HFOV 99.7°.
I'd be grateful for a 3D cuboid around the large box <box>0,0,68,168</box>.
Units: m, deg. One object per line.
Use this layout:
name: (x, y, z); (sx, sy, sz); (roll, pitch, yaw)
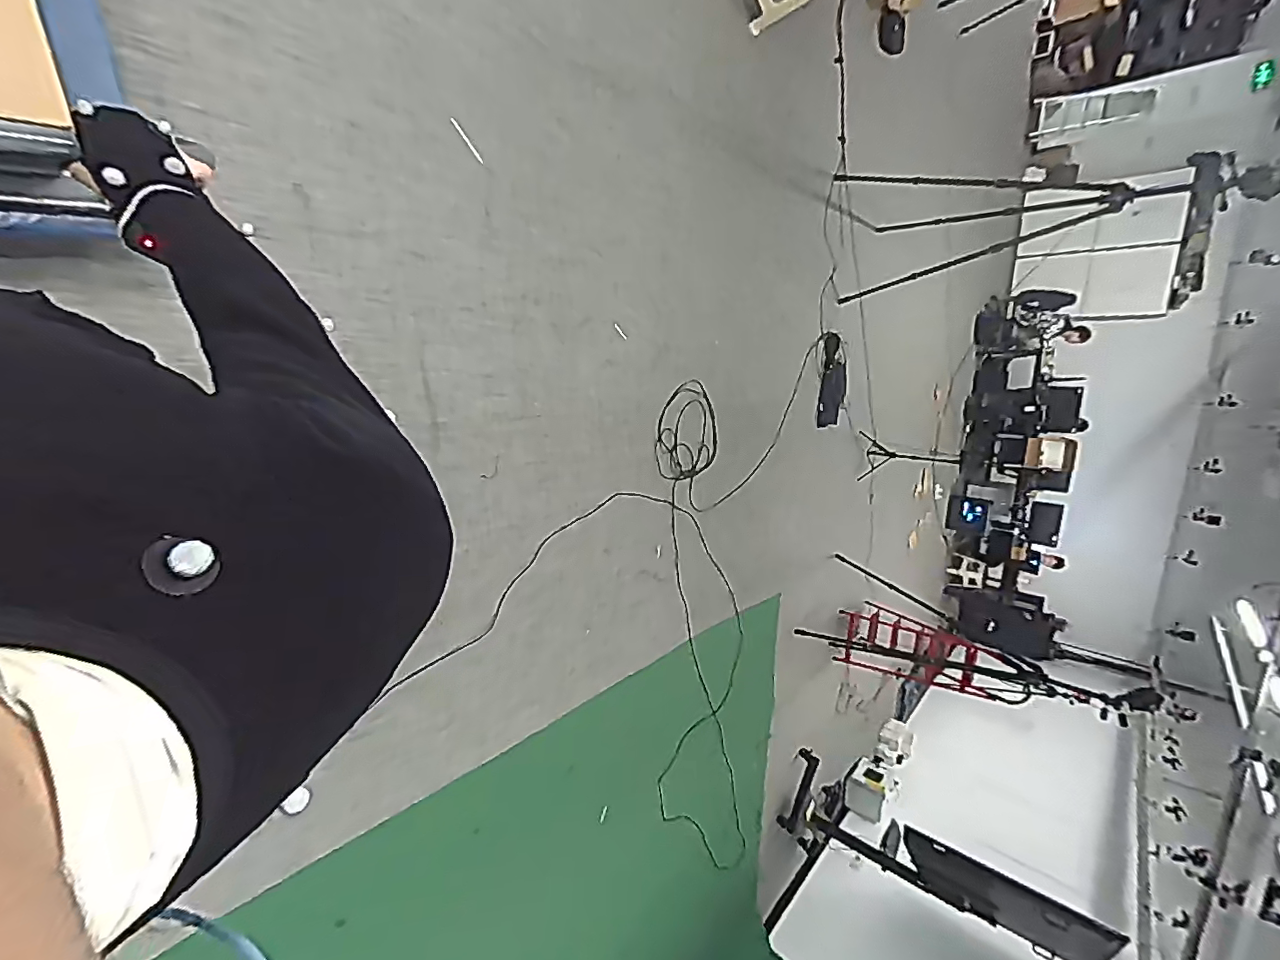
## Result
large box: (-1.054, -0.686, 0.719); (0.320, 0.320, 0.408); (-21, 114, -44)
